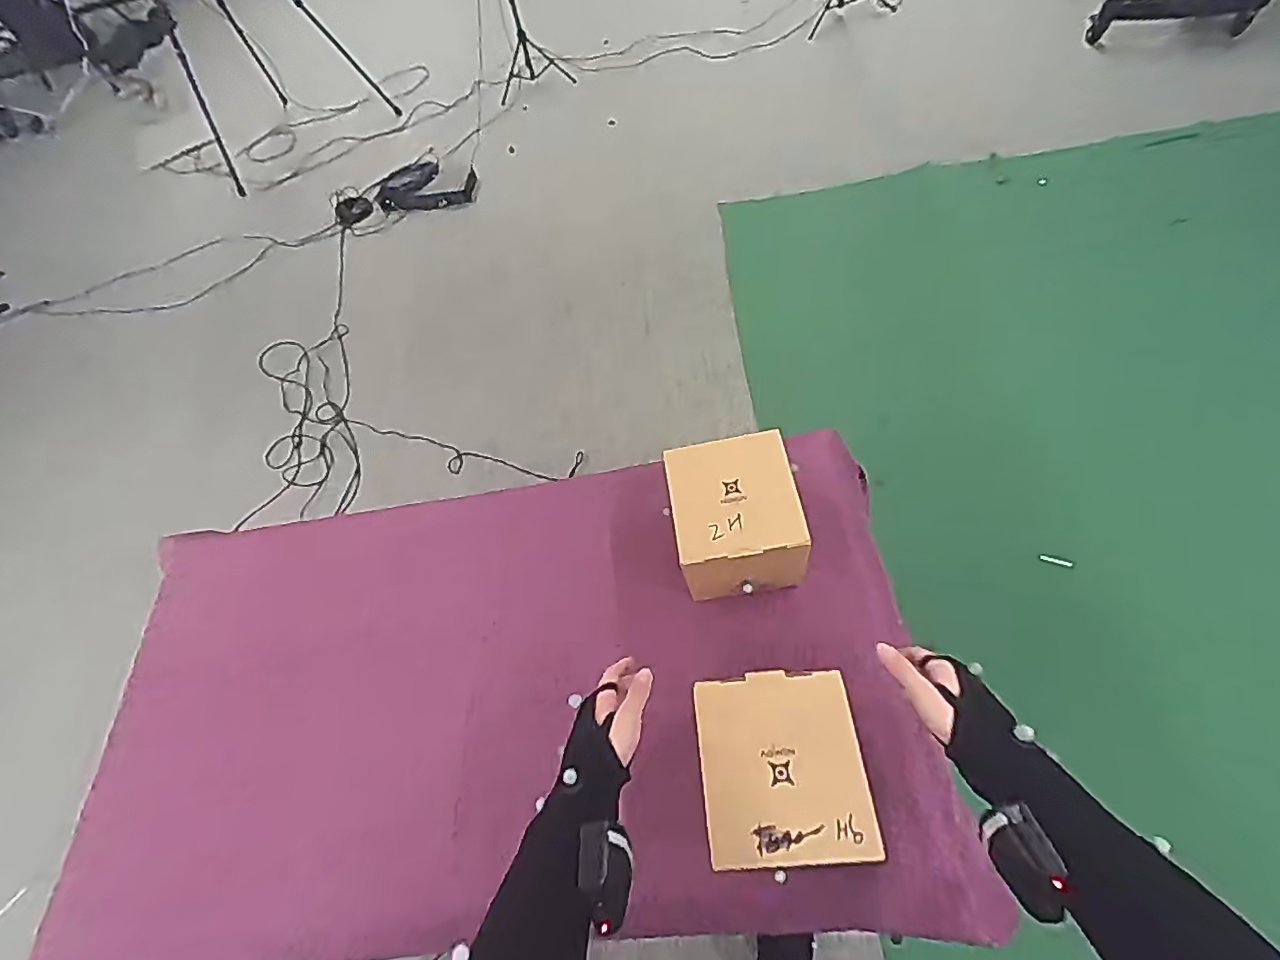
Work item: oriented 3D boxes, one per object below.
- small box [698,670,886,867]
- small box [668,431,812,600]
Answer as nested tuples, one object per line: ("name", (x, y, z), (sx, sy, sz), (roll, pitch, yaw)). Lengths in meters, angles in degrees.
("small box", (0.158, 0.333, 0.624), (0.168, 0.176, 0.179), (-7, 58, 6))
("small box", (0.138, 0.057, 0.782), (0.168, 0.176, 0.179), (-10, 60, 7))
